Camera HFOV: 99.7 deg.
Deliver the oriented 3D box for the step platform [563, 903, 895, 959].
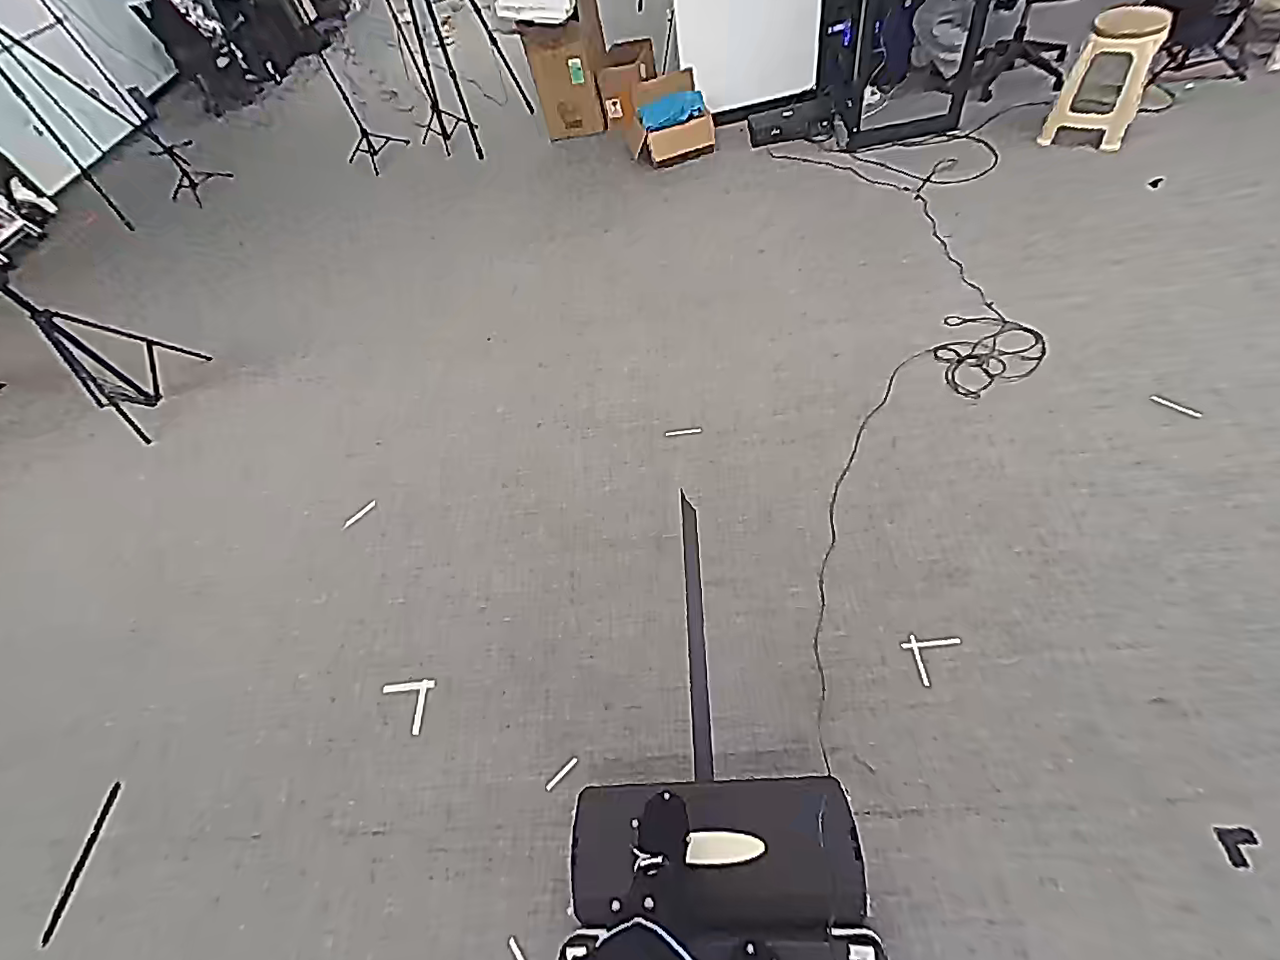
[{"bbox_3d":[0.178,1.047,1.092,0.684,0.204,0.286,-8,53,9],"label":"step platform"}]
